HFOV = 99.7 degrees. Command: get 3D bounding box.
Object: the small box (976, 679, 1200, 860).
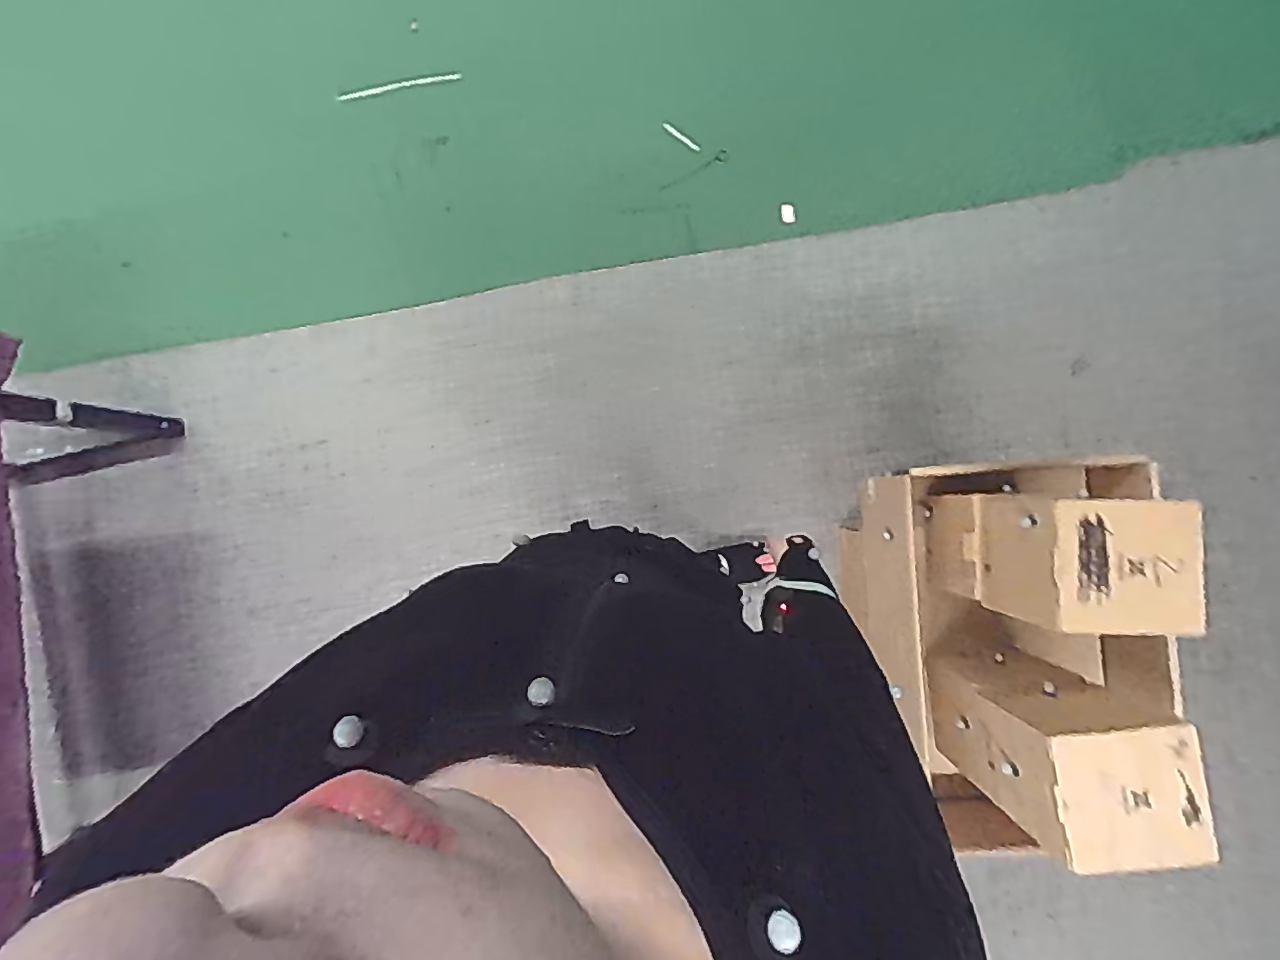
[{"bbox_3d":[0.598,0.388,0.751,0.179,0.176,0.168,-6,88,3],"label":"small box"}]
